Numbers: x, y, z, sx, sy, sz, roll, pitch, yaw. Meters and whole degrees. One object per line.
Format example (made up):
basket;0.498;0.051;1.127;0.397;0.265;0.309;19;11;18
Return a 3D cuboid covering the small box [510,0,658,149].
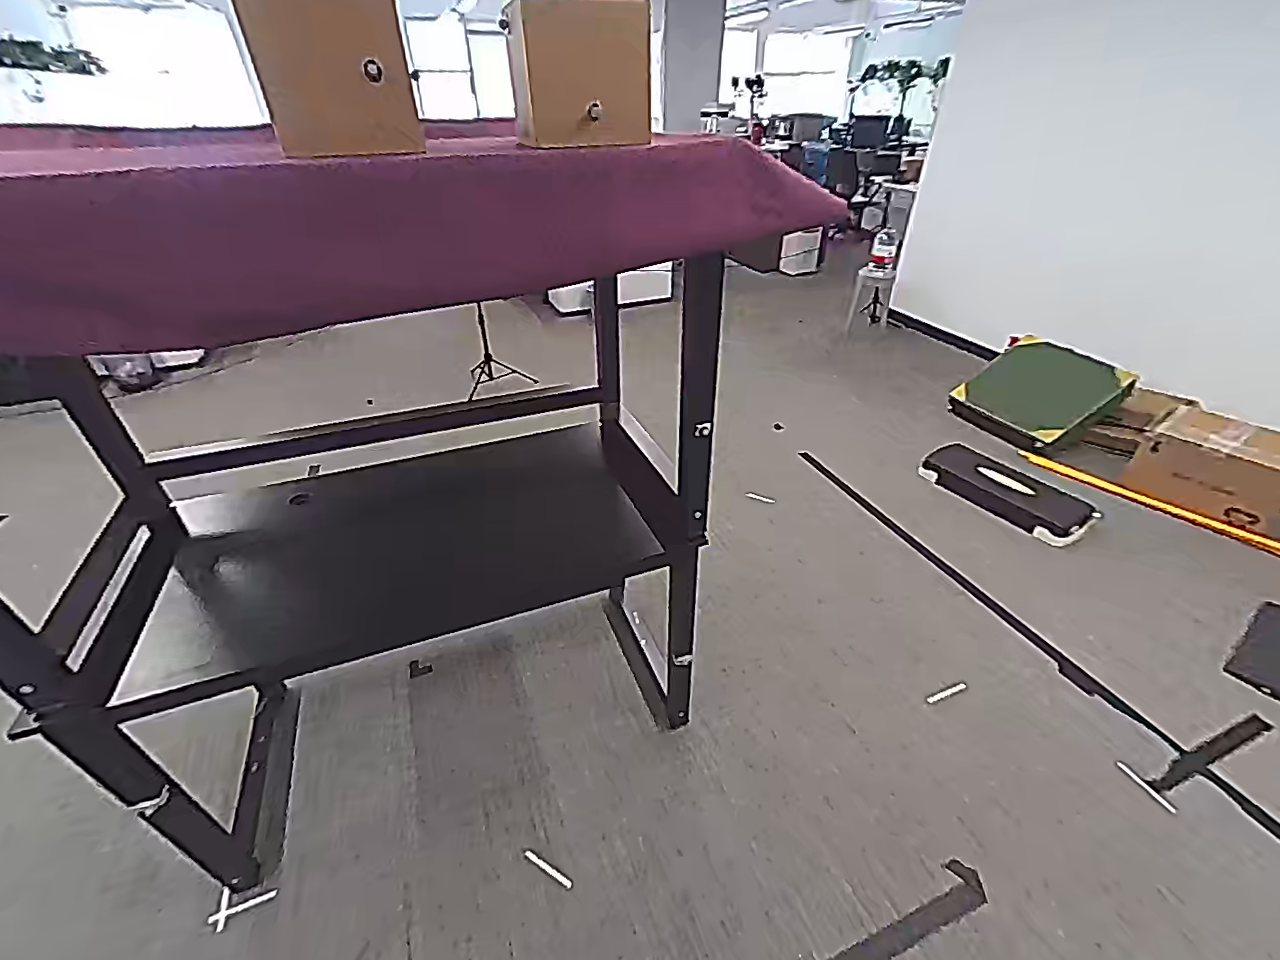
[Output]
small box;-0.083;-0.590;0.790;0.179;0.176;0.168;-12;35;-15

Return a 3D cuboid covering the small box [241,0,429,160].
small box;-0.387;-0.535;0.723;0.179;0.176;0.168;-12;35;-15
